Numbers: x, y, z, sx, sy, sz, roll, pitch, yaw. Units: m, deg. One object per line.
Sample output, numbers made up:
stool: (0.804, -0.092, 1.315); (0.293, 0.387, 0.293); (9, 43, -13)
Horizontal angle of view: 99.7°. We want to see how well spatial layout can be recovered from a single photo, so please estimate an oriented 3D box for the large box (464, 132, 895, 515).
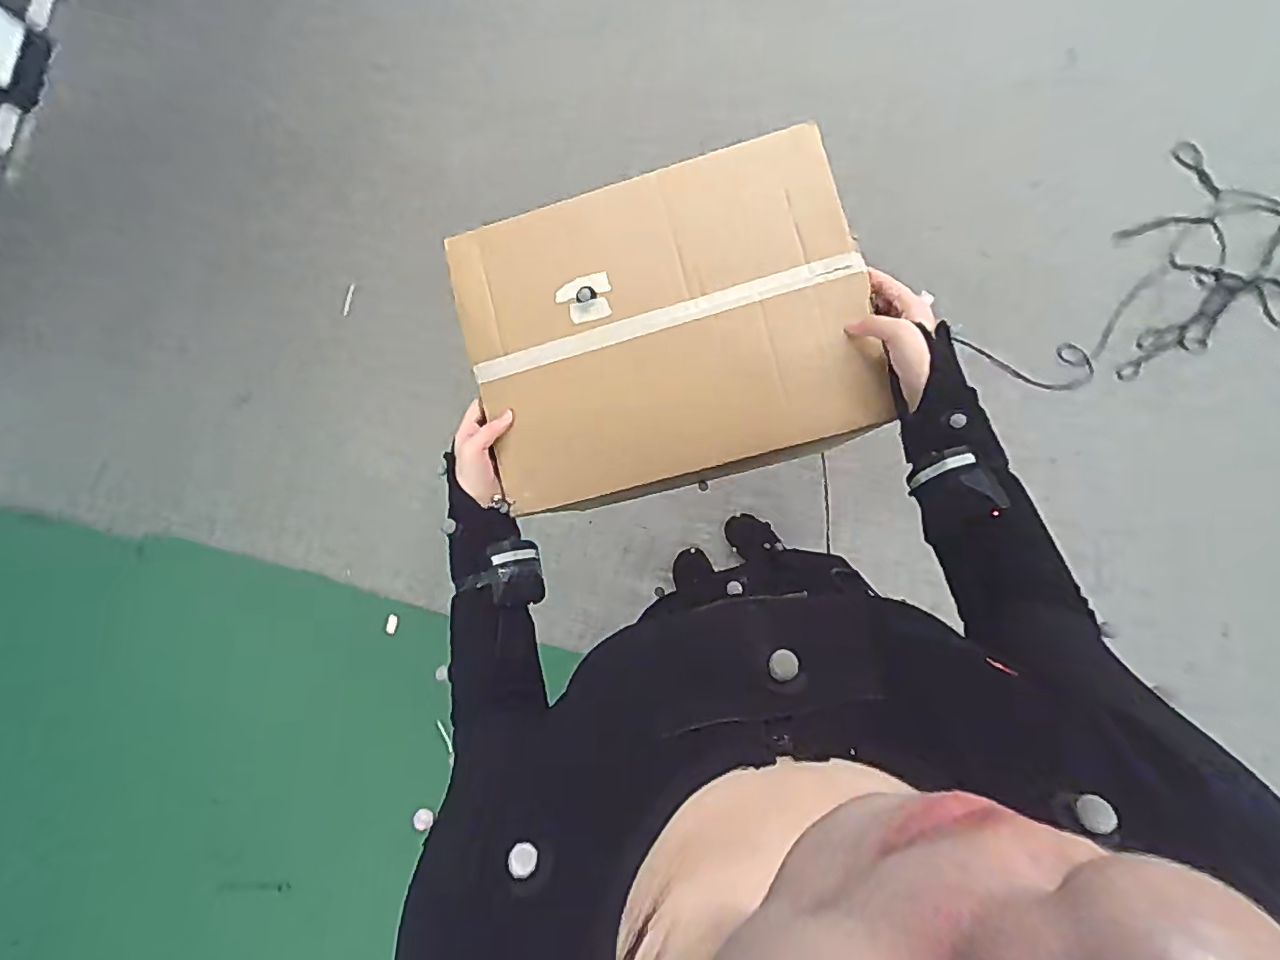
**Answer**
large box: (0.051, -0.156, 0.713); (0.408, 0.320, 0.320); (-14, 85, 8)
